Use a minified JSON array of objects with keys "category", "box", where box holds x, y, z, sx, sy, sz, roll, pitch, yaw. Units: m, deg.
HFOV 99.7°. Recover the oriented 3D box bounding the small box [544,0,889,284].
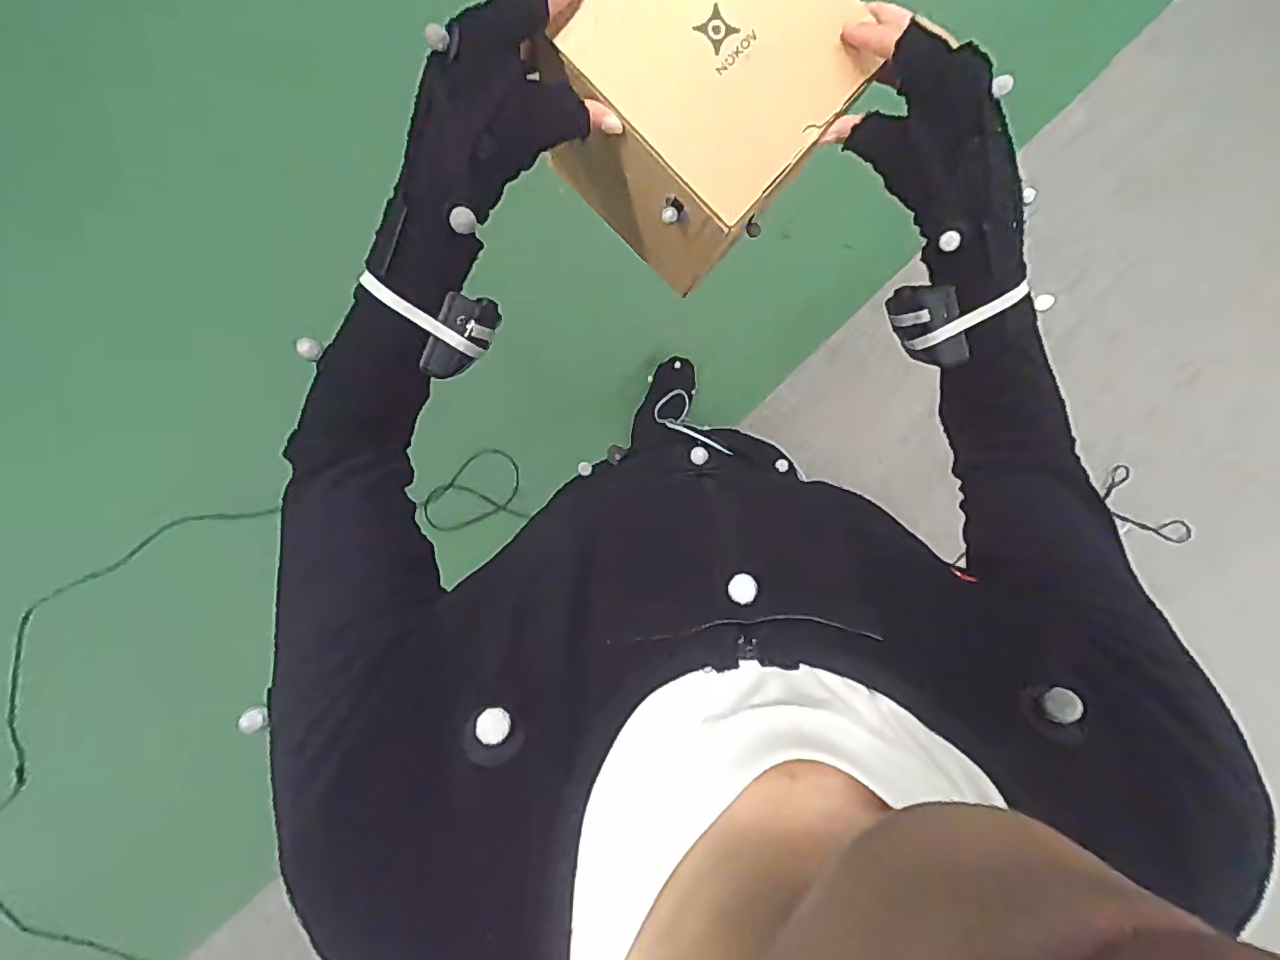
[{"category":"small box","box":[0.044,-0.290,0.432,0.179,0.176,0.168,43,88,-8]}]
